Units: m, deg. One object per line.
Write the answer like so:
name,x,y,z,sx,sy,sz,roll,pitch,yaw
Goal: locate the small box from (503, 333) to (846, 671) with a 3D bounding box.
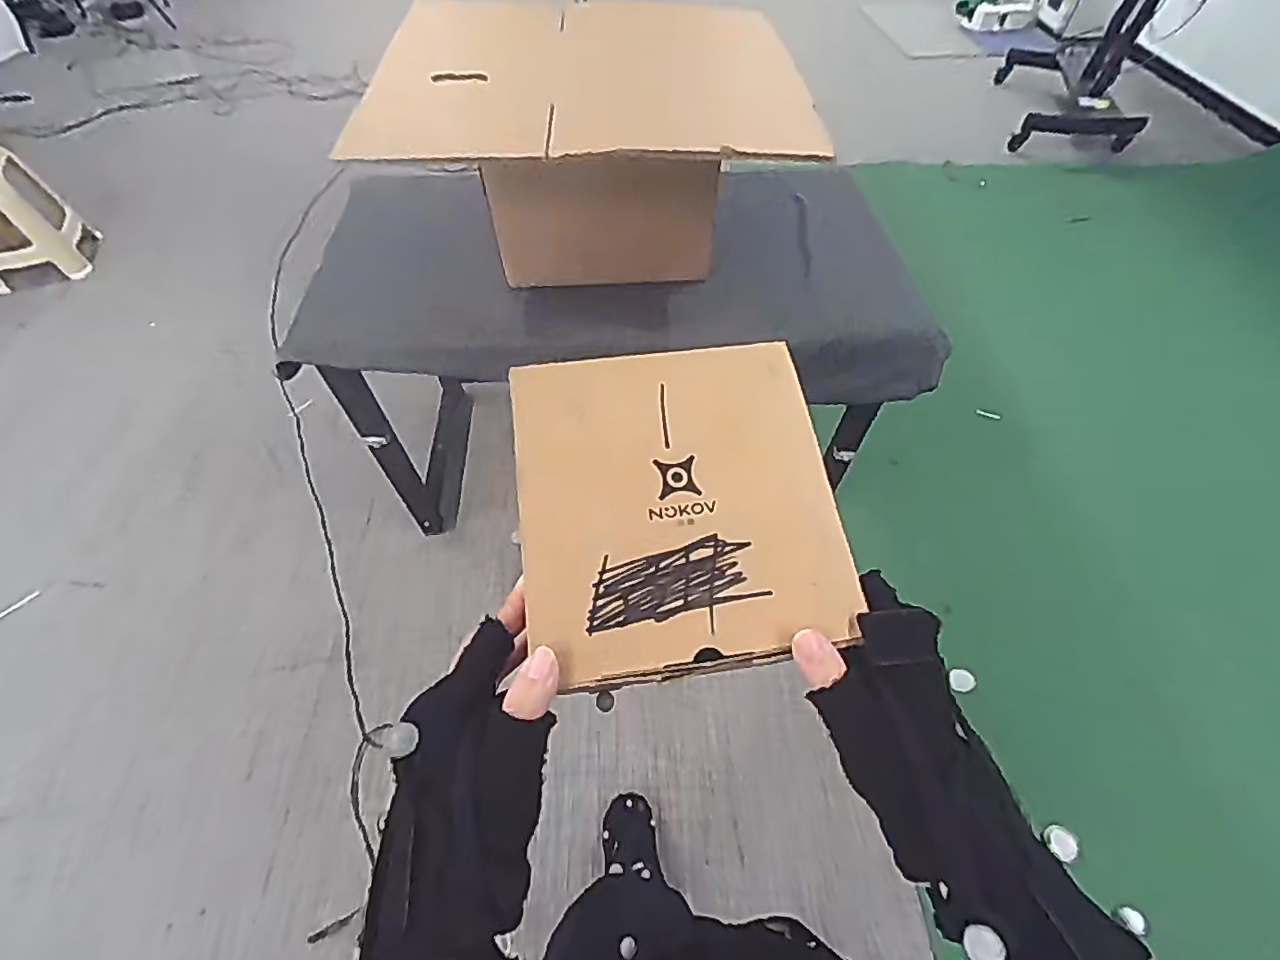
small box,0.009,0.029,0.364,0.168,0.176,0.179,-7,68,-6
